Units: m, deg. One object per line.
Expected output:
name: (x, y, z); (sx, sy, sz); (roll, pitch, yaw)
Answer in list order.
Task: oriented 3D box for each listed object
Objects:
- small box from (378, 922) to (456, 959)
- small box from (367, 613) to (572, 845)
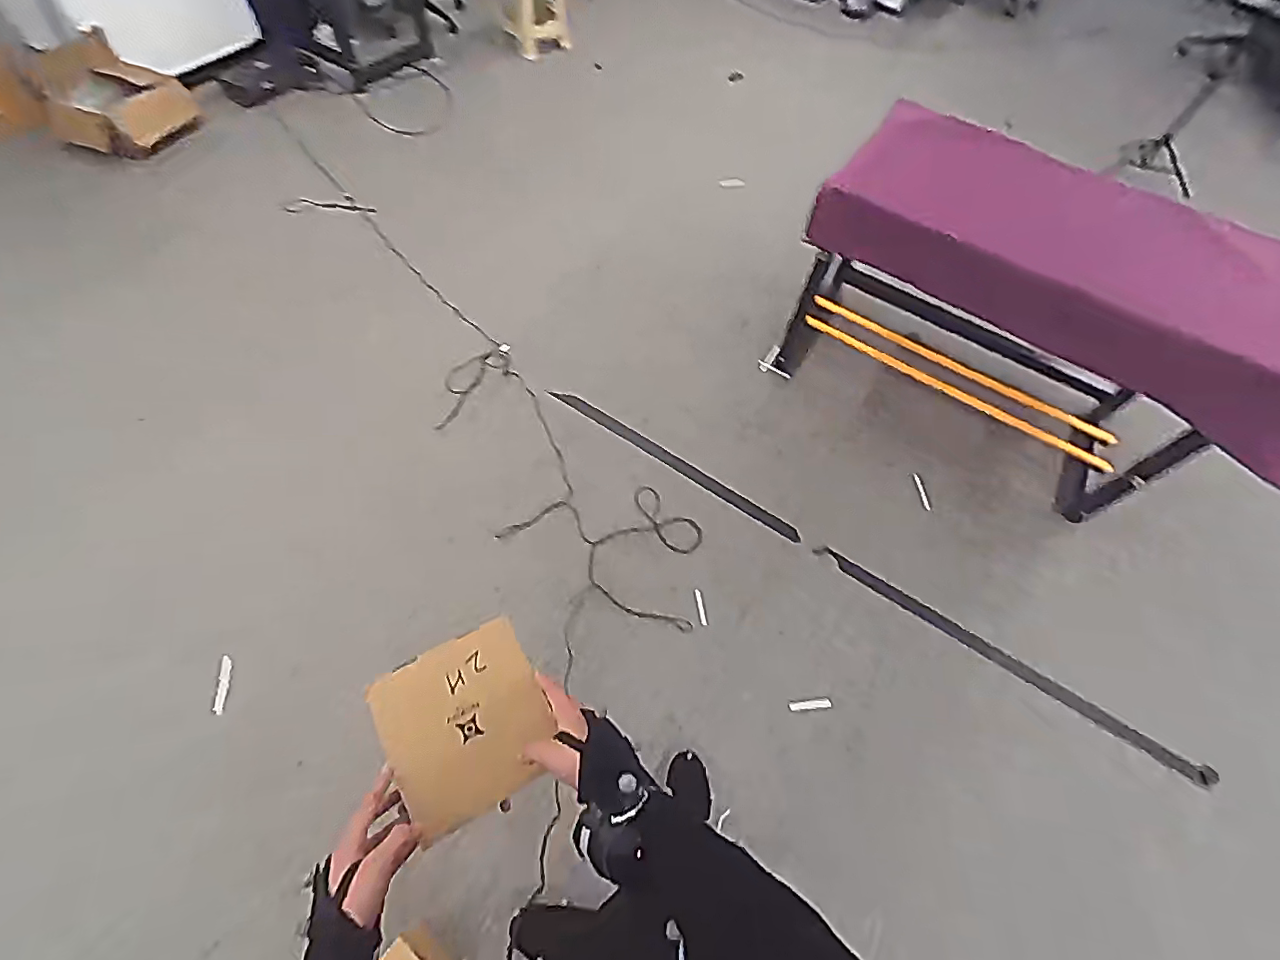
small box: (-0.476, 1.046, 1.090); (0.168, 0.176, 0.179); (34, 64, 16)
small box: (-0.192, 0.286, 0.643); (0.168, 0.176, 0.179); (-23, 71, -20)
